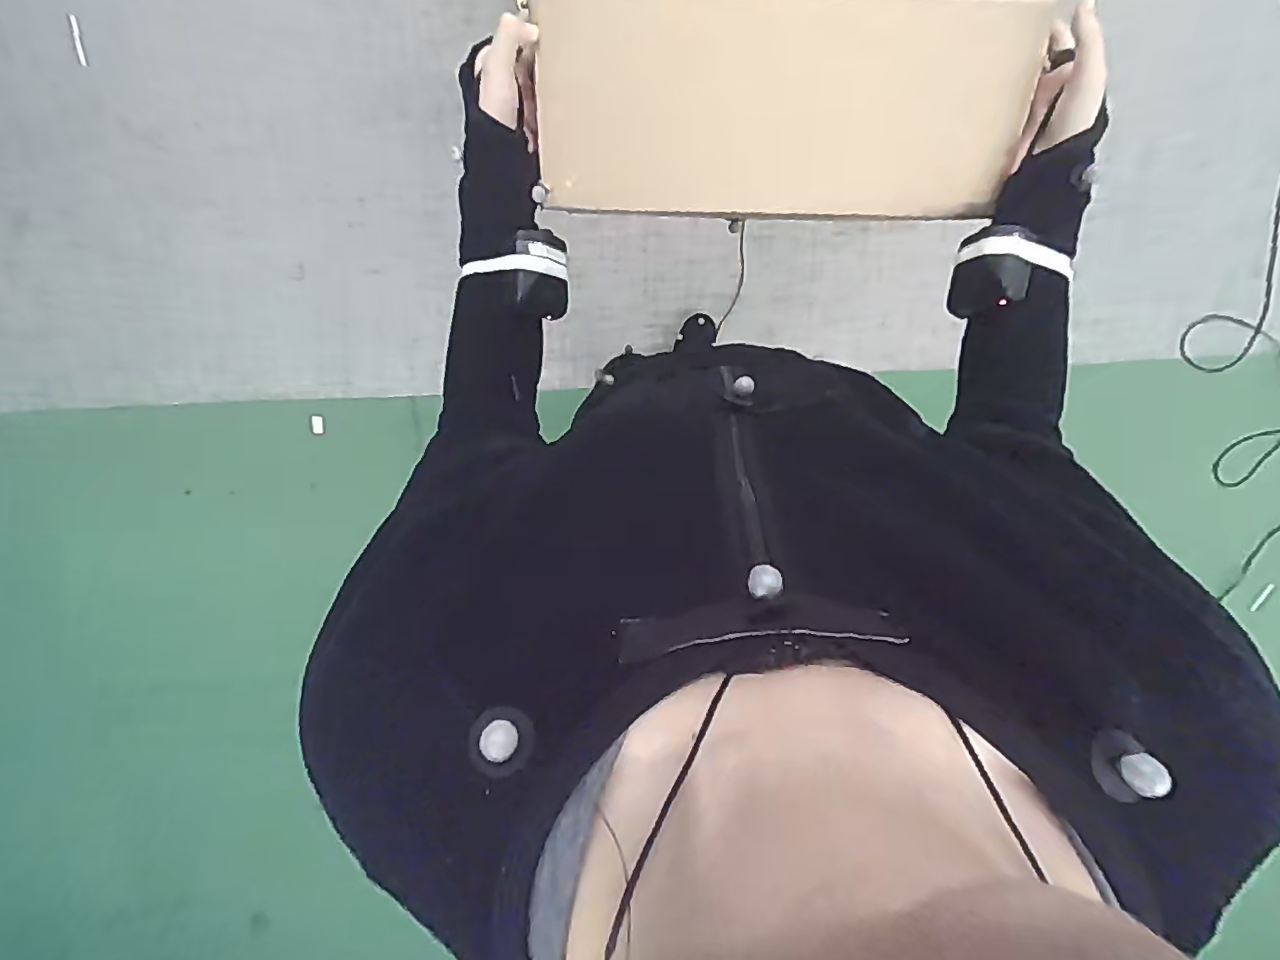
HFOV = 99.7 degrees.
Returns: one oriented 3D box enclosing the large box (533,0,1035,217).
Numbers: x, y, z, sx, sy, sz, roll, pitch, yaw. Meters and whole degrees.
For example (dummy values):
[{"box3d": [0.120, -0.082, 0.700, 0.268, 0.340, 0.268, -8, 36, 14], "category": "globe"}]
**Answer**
[{"box3d": [0.112, -0.445, 0.552, 0.408, 0.320, 0.320, 0, 115, -2], "category": "large box"}]
